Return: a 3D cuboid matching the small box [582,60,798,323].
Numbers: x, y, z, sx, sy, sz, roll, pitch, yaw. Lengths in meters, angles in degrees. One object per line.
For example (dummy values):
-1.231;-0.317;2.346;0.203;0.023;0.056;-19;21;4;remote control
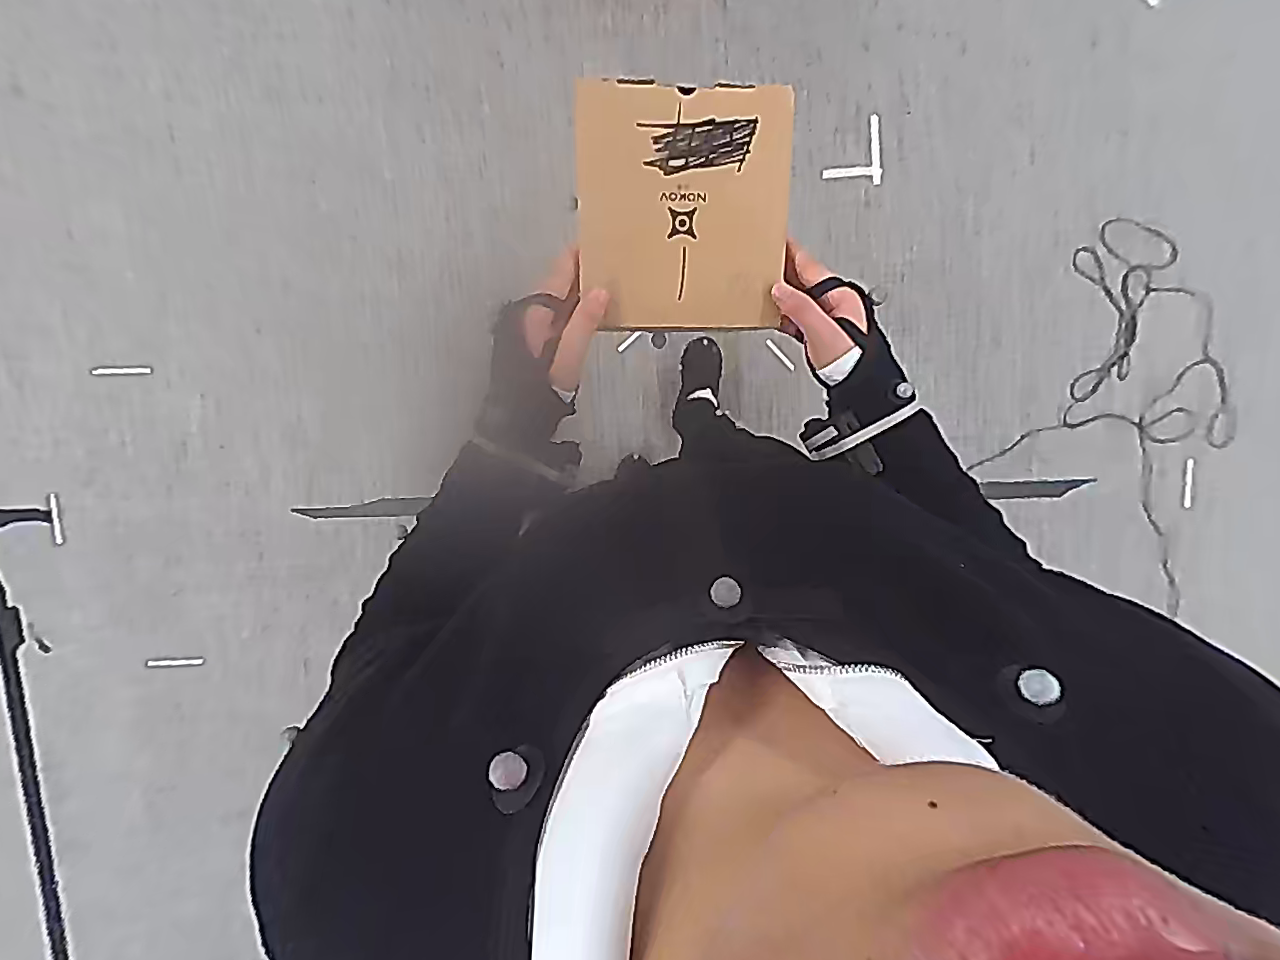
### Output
0.031;-0.239;0.495;0.168;0.176;0.179;-1;105;-4;small box
